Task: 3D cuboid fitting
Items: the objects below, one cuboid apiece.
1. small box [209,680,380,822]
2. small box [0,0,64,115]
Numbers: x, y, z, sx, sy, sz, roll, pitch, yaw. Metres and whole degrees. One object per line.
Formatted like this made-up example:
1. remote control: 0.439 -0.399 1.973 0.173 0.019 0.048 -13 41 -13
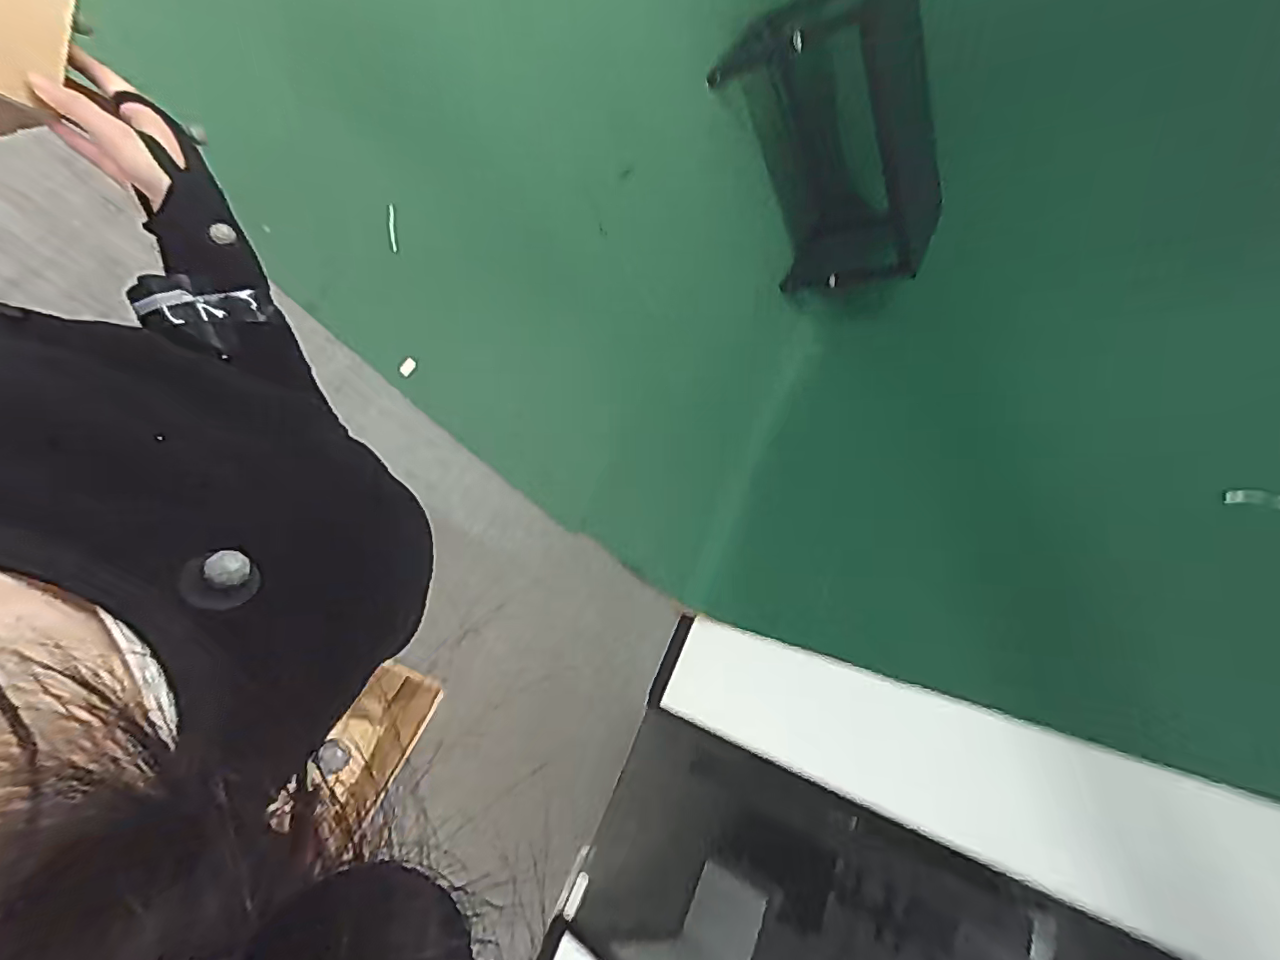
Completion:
1. small box: -0.622 0.484 0.977 0.179 0.176 0.168 45 62 -43
2. small box: -0.476 -0.353 0.317 0.168 0.176 0.179 3 102 -59
